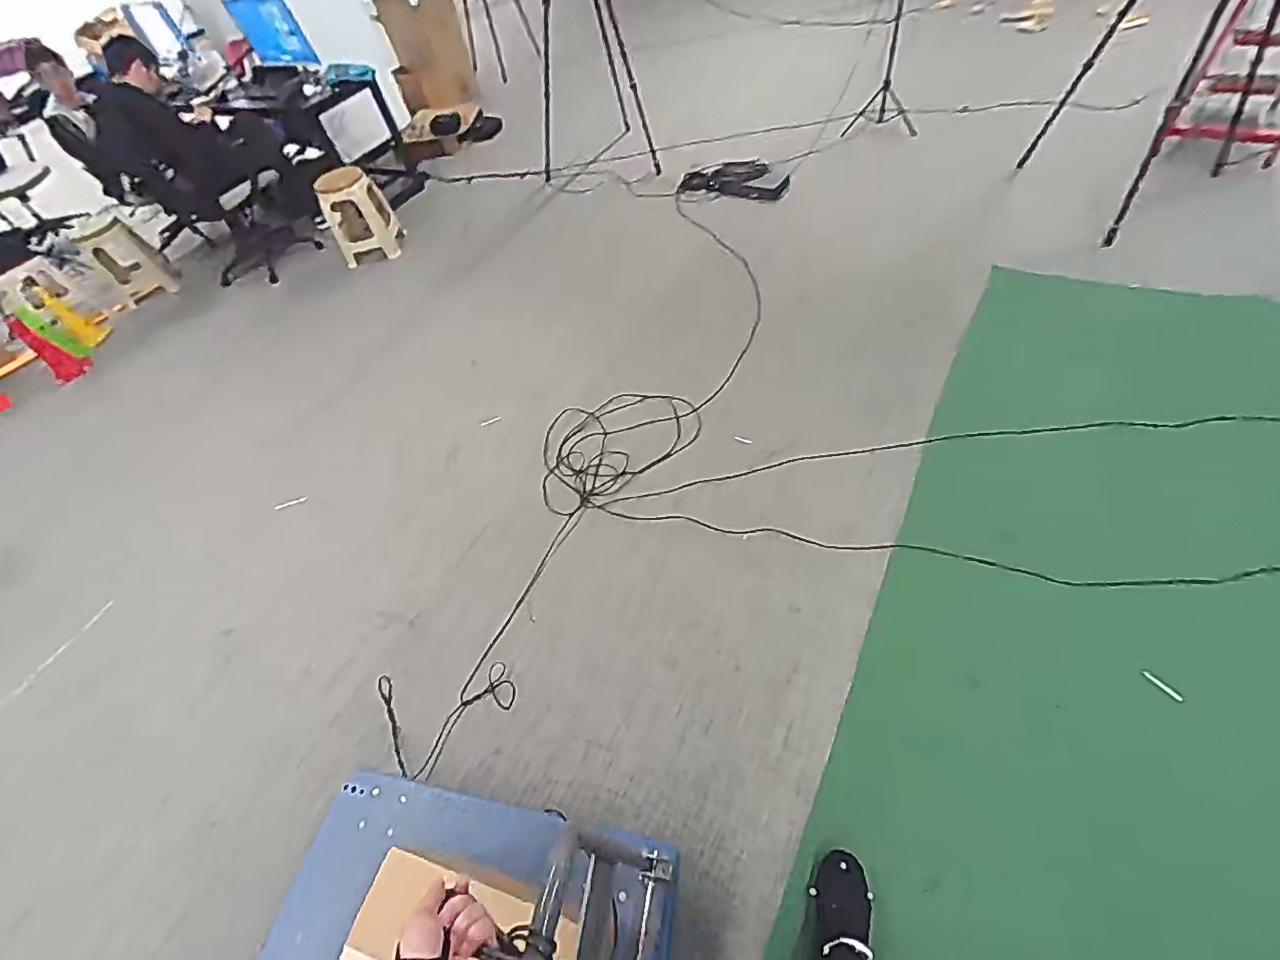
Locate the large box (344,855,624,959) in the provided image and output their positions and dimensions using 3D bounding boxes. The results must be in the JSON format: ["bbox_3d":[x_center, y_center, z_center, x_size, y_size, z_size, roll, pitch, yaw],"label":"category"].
[{"bbox_3d":[-0.280,0.914,0.961,0.408,0.320,0.320,8,55,18],"label":"large box"}]
